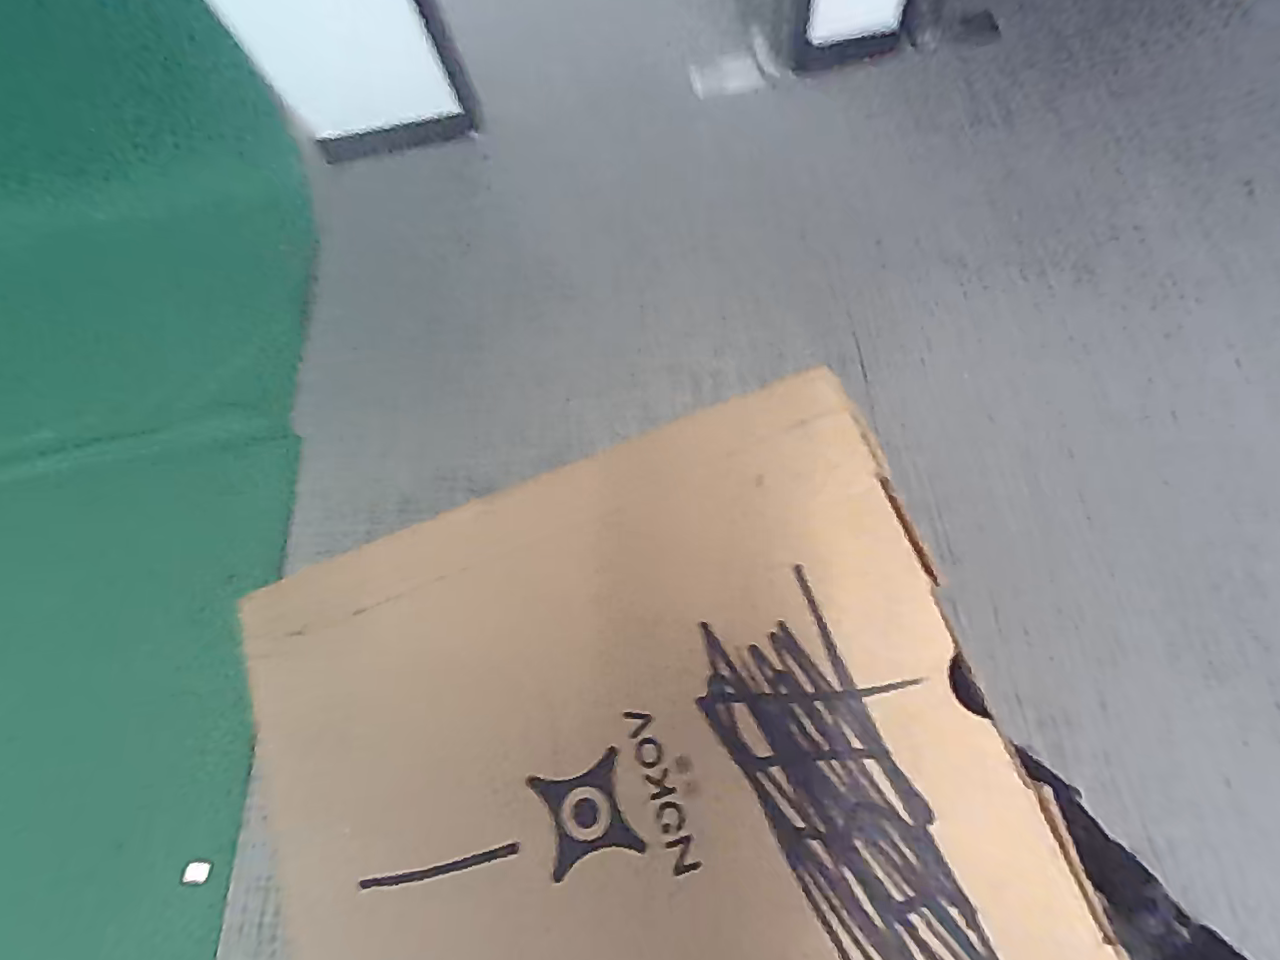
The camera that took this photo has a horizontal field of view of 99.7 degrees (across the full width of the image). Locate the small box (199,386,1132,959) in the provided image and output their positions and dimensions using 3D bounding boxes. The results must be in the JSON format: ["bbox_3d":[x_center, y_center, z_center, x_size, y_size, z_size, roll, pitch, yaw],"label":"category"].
[{"bbox_3d":[0.004,0.096,0.197,0.179,0.176,0.168,-24,76,1],"label":"small box"}]
